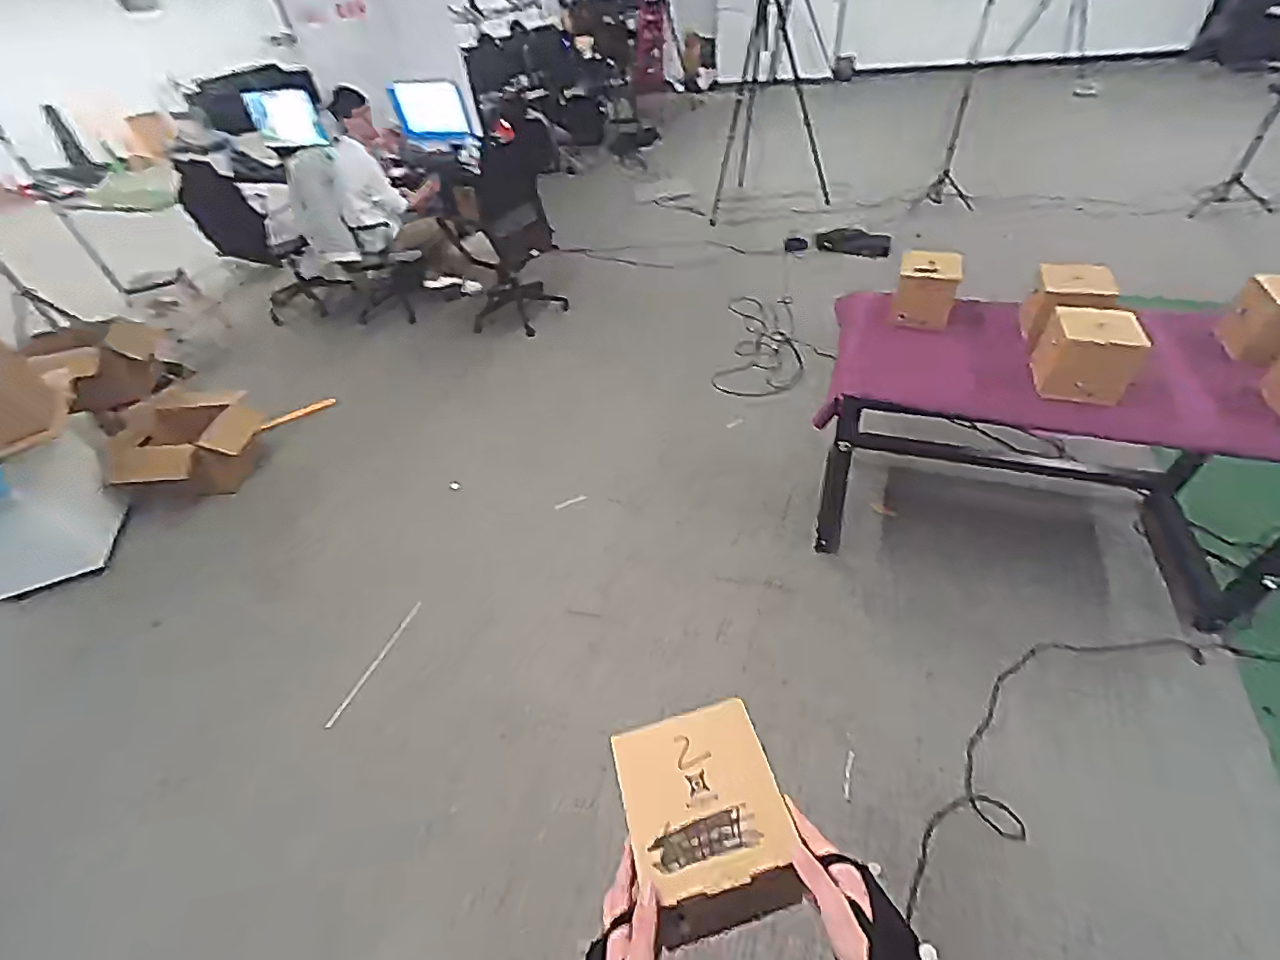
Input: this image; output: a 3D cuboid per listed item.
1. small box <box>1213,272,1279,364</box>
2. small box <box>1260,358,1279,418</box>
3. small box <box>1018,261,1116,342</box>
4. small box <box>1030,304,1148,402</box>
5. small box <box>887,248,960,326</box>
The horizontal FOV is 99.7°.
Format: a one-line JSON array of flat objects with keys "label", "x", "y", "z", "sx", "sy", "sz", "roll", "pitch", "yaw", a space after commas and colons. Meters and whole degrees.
[{"label": "small box", "x": 1.643, "y": -0.413, "z": 1.388, "sx": 0.168, "sy": 0.176, "sz": 0.179, "roll": 10, "pitch": 46, "yaw": 19}, {"label": "small box", "x": 1.558, "y": -0.226, "z": 1.201, "sx": 0.168, "sy": 0.176, "sz": 0.179, "roll": 11, "pitch": 46, "yaw": 21}, {"label": "small box", "x": 1.208, "y": -0.506, "z": 1.547, "sx": 0.168, "sy": 0.176, "sz": 0.179, "roll": 11, "pitch": 48, "yaw": 19}, {"label": "small box", "x": 1.122, "y": -0.323, "z": 1.370, "sx": 0.168, "sy": 0.176, "sz": 0.179, "roll": 11, "pitch": 47, "yaw": 18}, {"label": "small box", "x": 0.880, "y": -0.600, "z": 1.683, "sx": 0.168, "sy": 0.176, "sz": 0.179, "roll": 13, "pitch": 49, "yaw": 19}]
